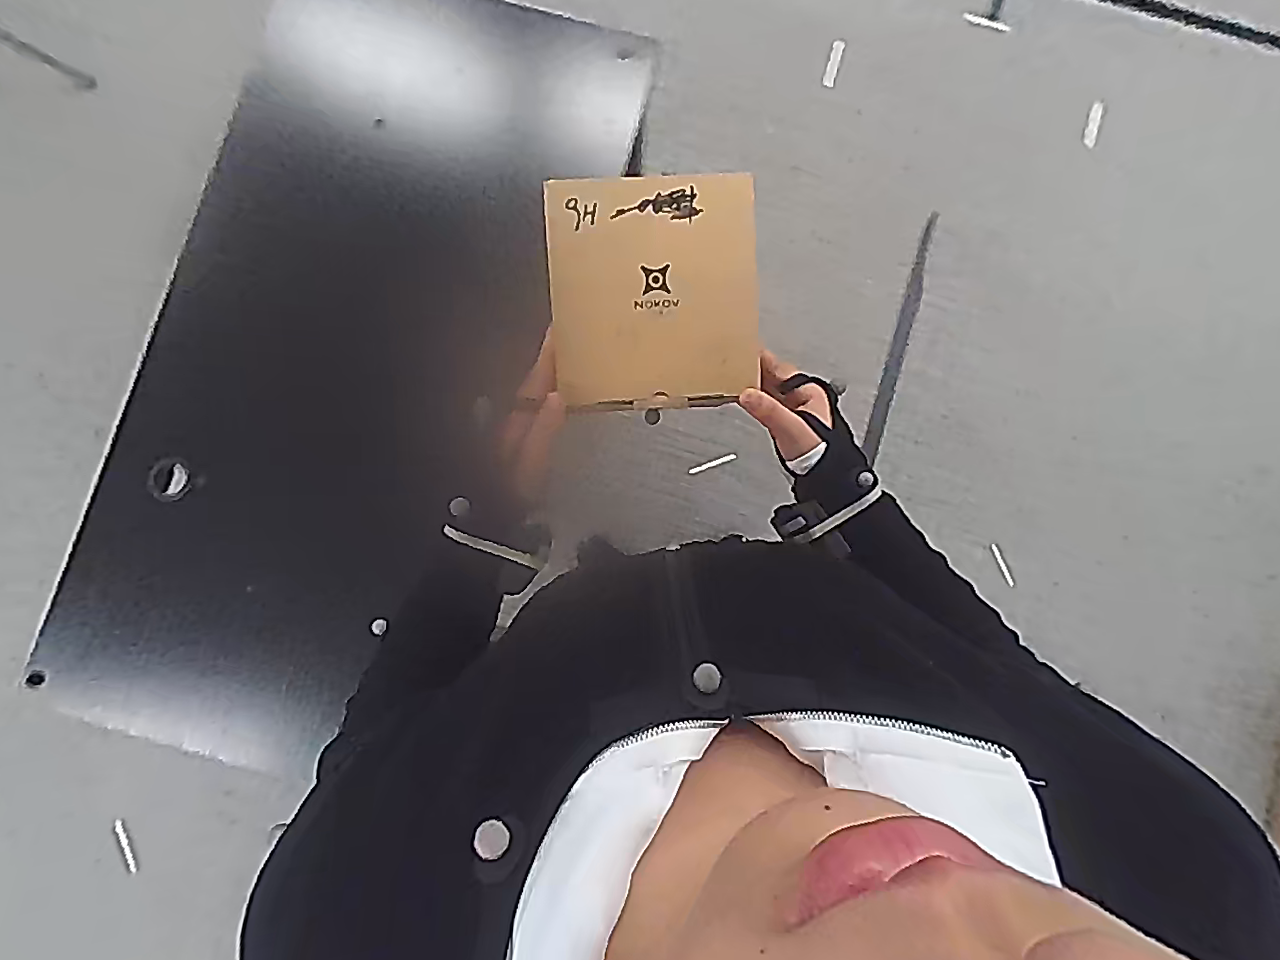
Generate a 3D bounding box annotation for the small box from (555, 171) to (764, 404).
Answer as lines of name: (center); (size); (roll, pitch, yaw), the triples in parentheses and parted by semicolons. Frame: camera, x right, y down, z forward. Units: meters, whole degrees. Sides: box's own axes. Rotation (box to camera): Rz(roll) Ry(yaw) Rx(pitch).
small box: (0.016, -0.162, 0.510); (0.168, 0.176, 0.179); (-3, 97, -2)
